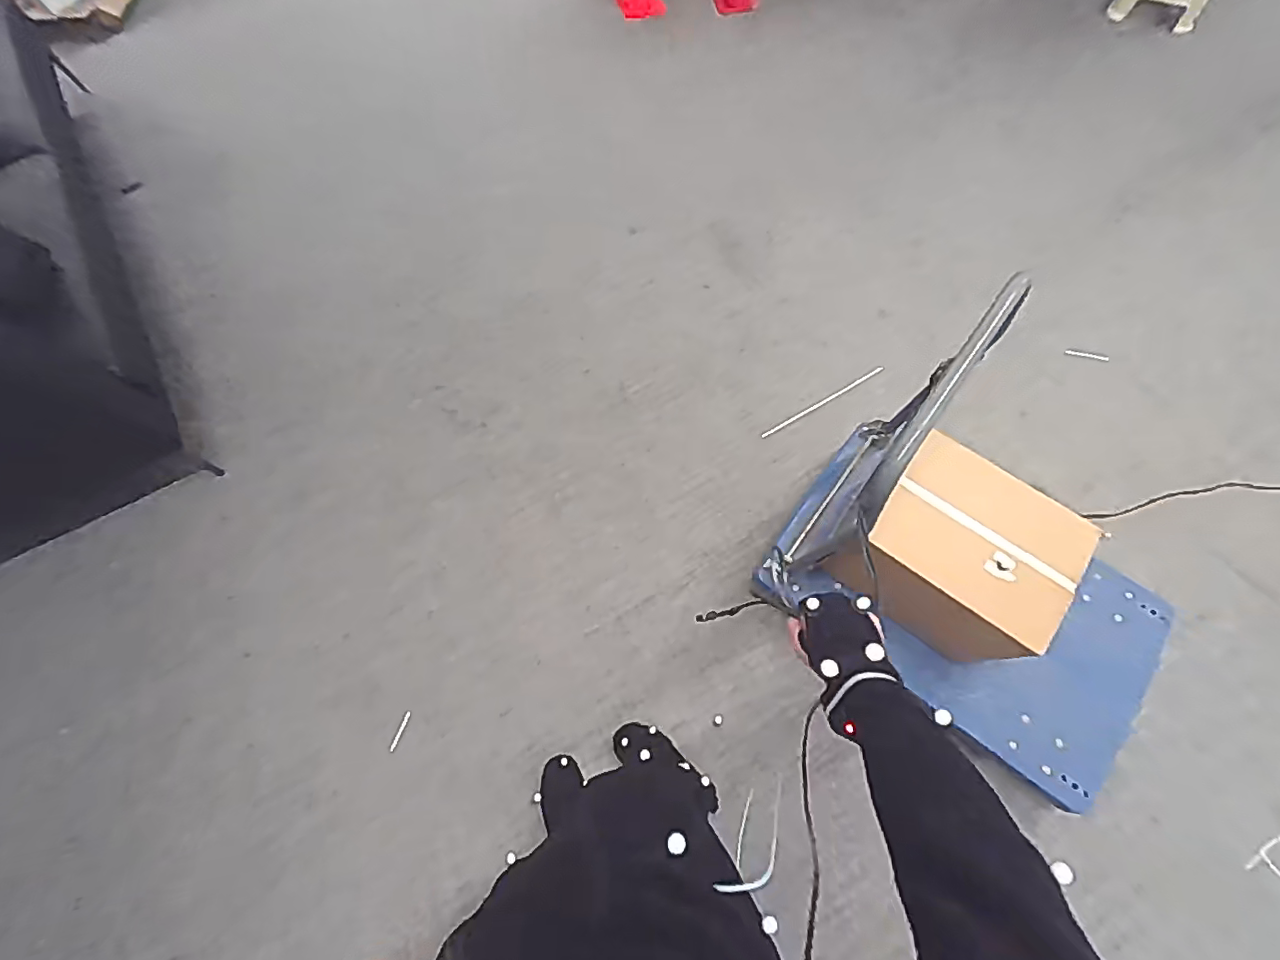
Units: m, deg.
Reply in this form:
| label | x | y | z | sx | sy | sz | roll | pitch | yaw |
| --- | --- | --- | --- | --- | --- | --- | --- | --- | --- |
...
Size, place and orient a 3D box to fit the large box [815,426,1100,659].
| label | x | y | z | sx | sy | sz | roll | pitch | yaw |
| --- | --- | --- | --- | --- | --- | --- | --- | --- | --- |
| large box | 0.684 | 0.153 | 1.231 | 0.408 | 0.320 | 0.320 | 36 | 74 | 13 |
